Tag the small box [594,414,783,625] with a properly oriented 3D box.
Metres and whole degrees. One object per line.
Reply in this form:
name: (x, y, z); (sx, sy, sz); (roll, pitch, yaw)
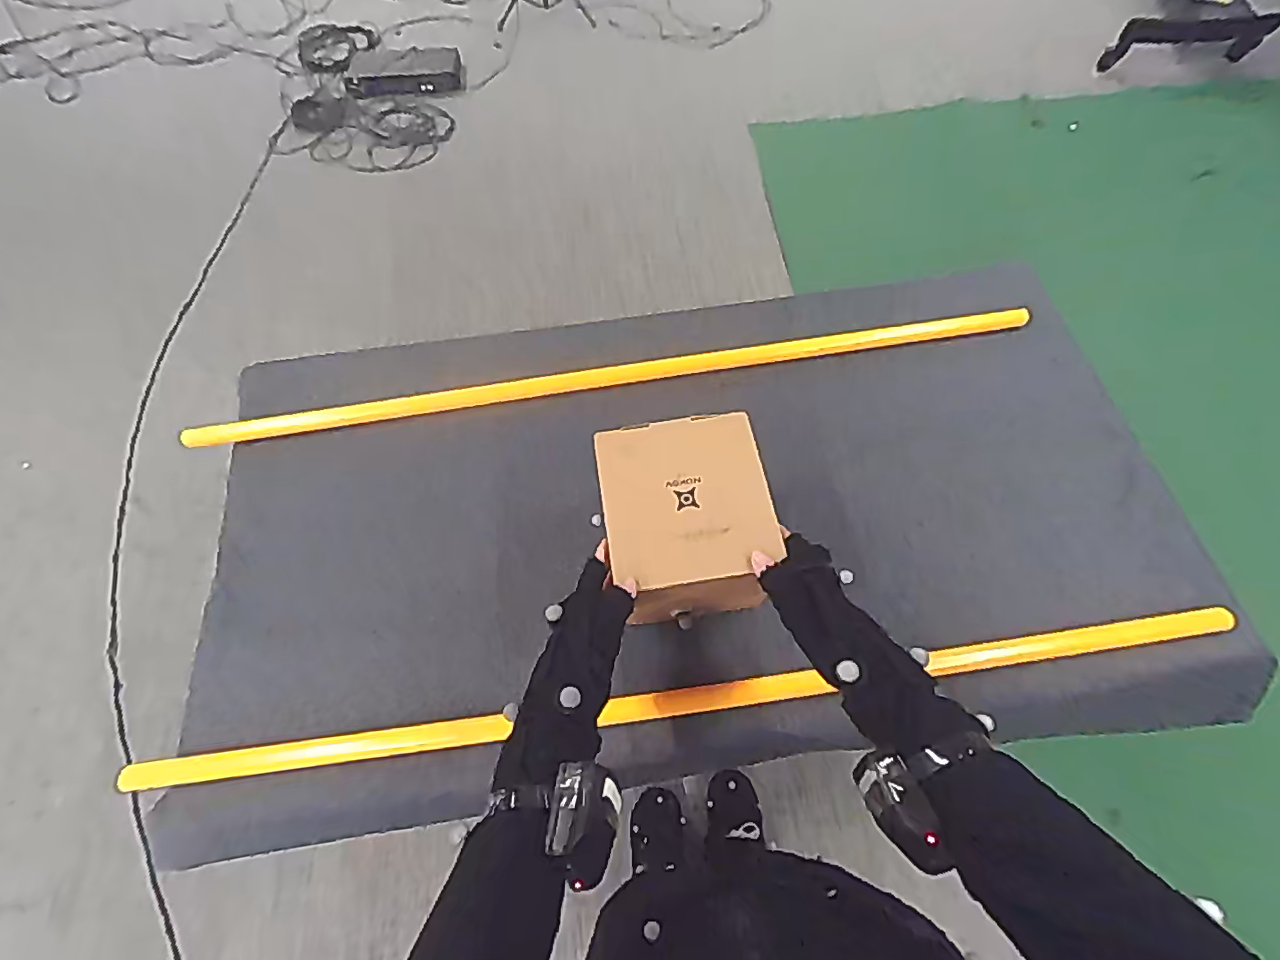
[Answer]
small box: (0.043, 0.051, 0.610); (0.168, 0.176, 0.179); (-9, 65, -3)
